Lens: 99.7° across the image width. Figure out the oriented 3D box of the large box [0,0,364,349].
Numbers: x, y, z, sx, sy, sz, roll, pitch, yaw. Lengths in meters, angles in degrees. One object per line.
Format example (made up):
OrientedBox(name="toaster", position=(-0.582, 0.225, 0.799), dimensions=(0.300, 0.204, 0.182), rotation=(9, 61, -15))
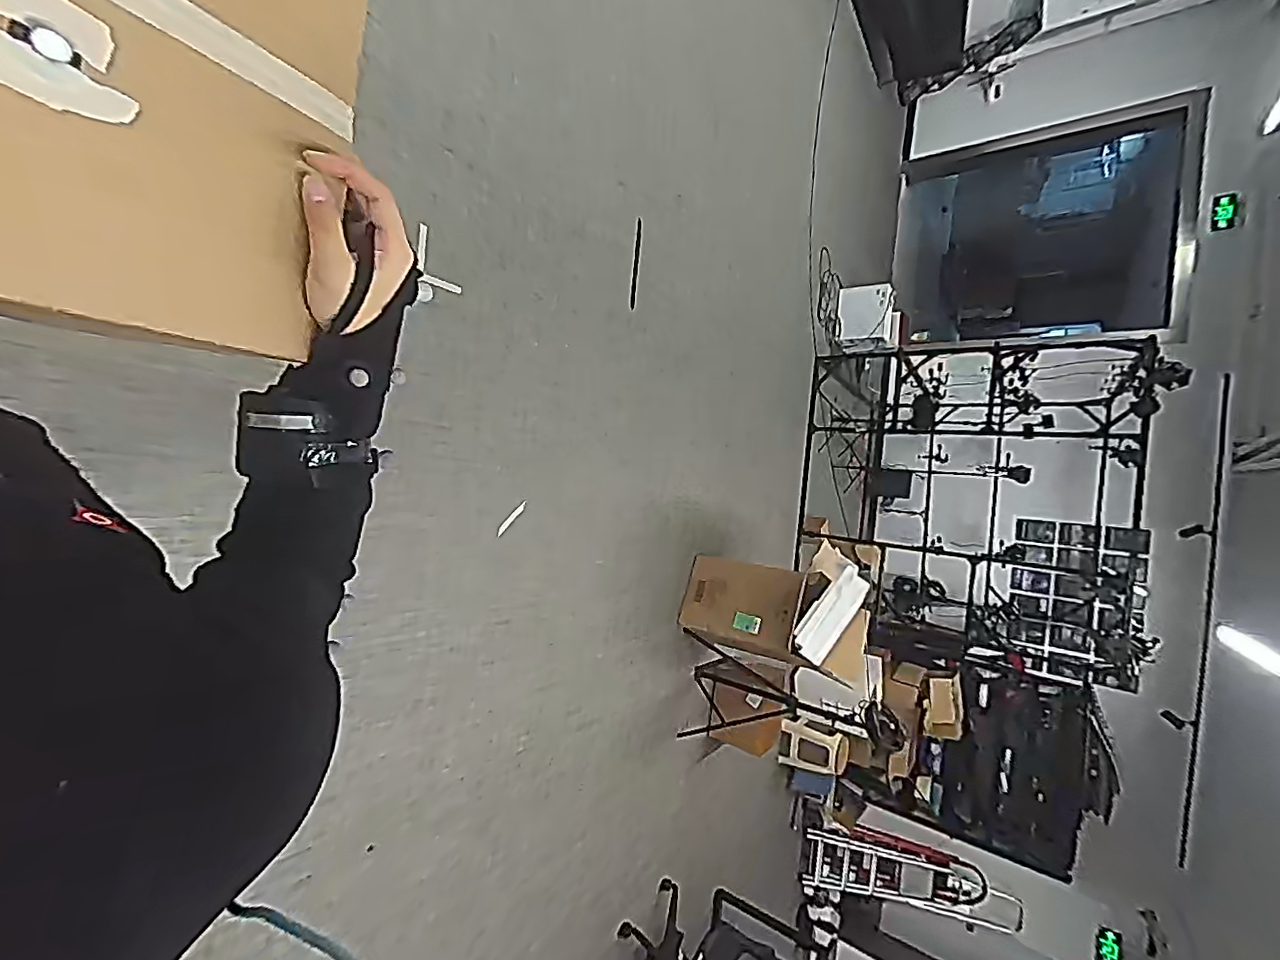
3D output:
OrientedBox(name="large box", position=(-0.424, -0.266, 0.263), dimensions=(0.408, 0.320, 0.320), rotation=(3, 99, -61))
